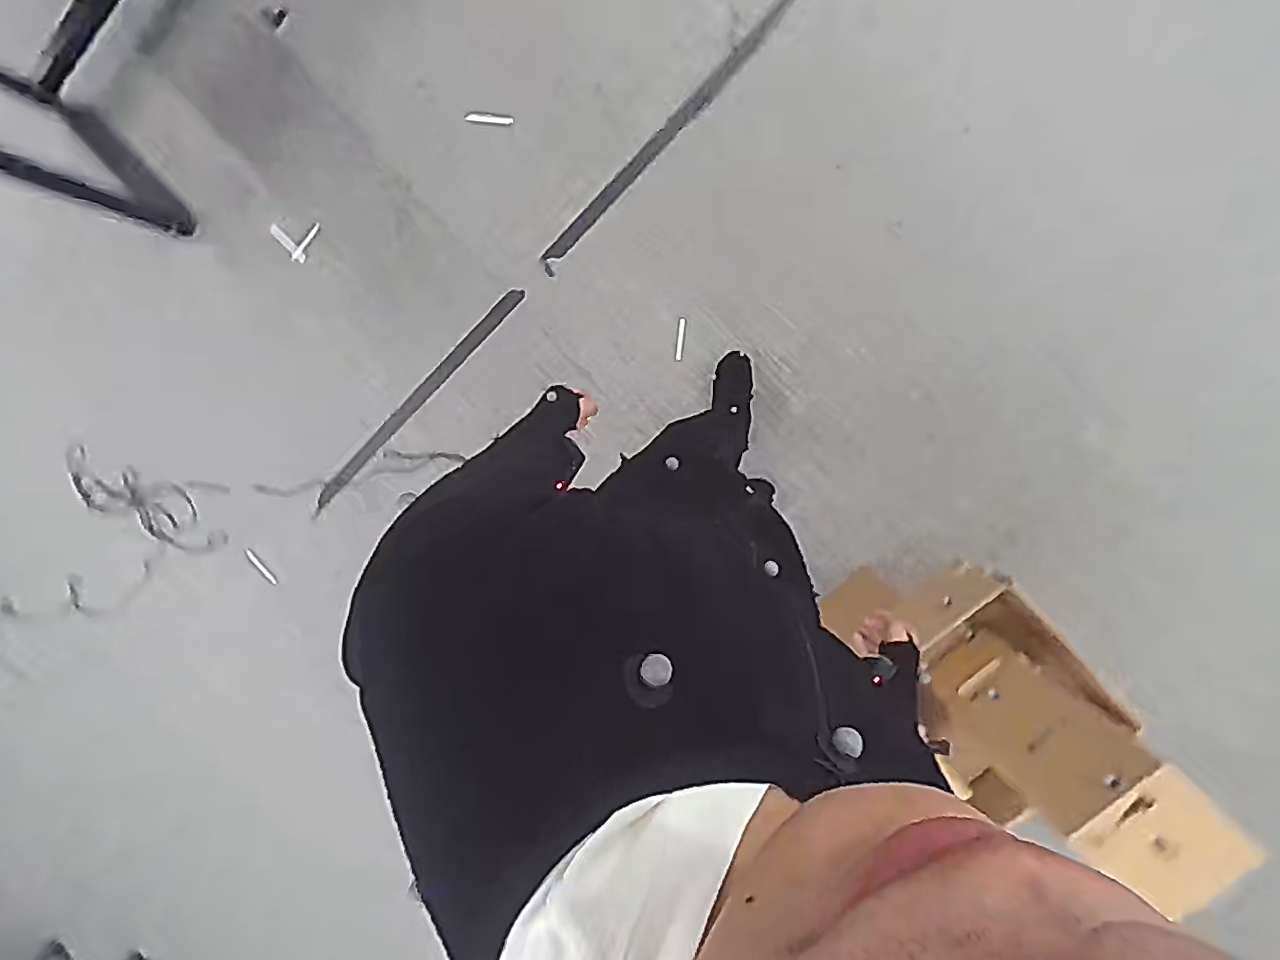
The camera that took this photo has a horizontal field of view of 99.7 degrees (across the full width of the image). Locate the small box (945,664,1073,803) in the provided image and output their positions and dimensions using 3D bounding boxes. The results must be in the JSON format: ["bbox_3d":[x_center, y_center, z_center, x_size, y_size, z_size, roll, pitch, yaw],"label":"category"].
[{"bbox_3d":[0.683,0.459,0.941,0.179,0.176,0.168,45,98,1],"label":"small box"}]

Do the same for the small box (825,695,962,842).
[{"bbox_3d":[0.522,0.596,1.140,0.168,0.176,0.179,-40,89,8],"label":"small box"}]

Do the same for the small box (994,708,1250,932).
[{"bbox_3d":[0.669,0.472,0.777,0.179,0.176,0.168,45,98,0],"label":"small box"}]
